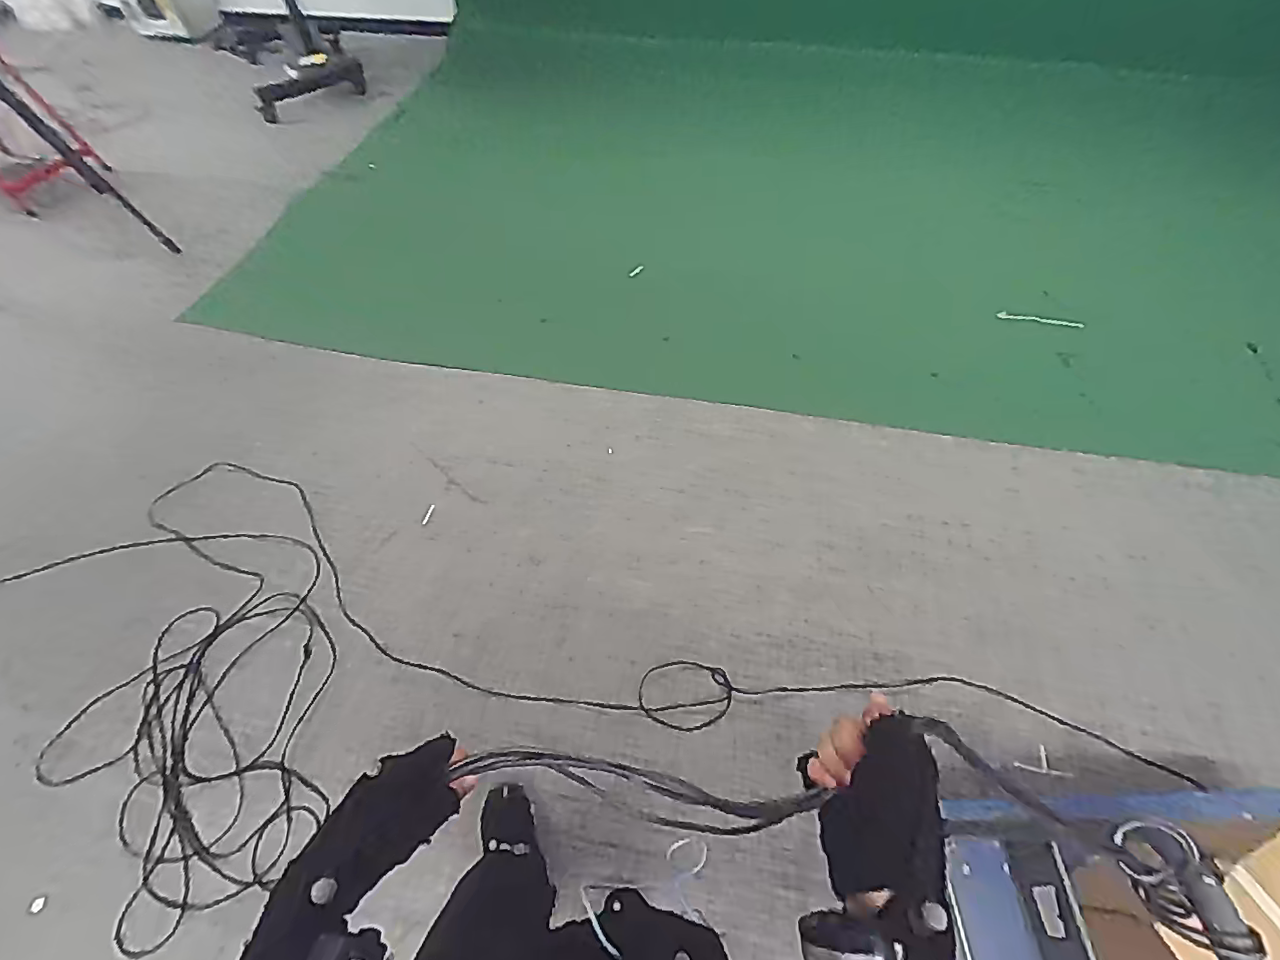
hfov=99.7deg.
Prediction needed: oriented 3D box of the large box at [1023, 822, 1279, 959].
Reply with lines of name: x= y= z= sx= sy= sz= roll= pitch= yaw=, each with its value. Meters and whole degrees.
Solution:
large box: x=0.916 y=0.800 z=0.808 sx=0.320 sy=0.320 sz=0.408 roll=-20 pitch=57 yaw=-12
